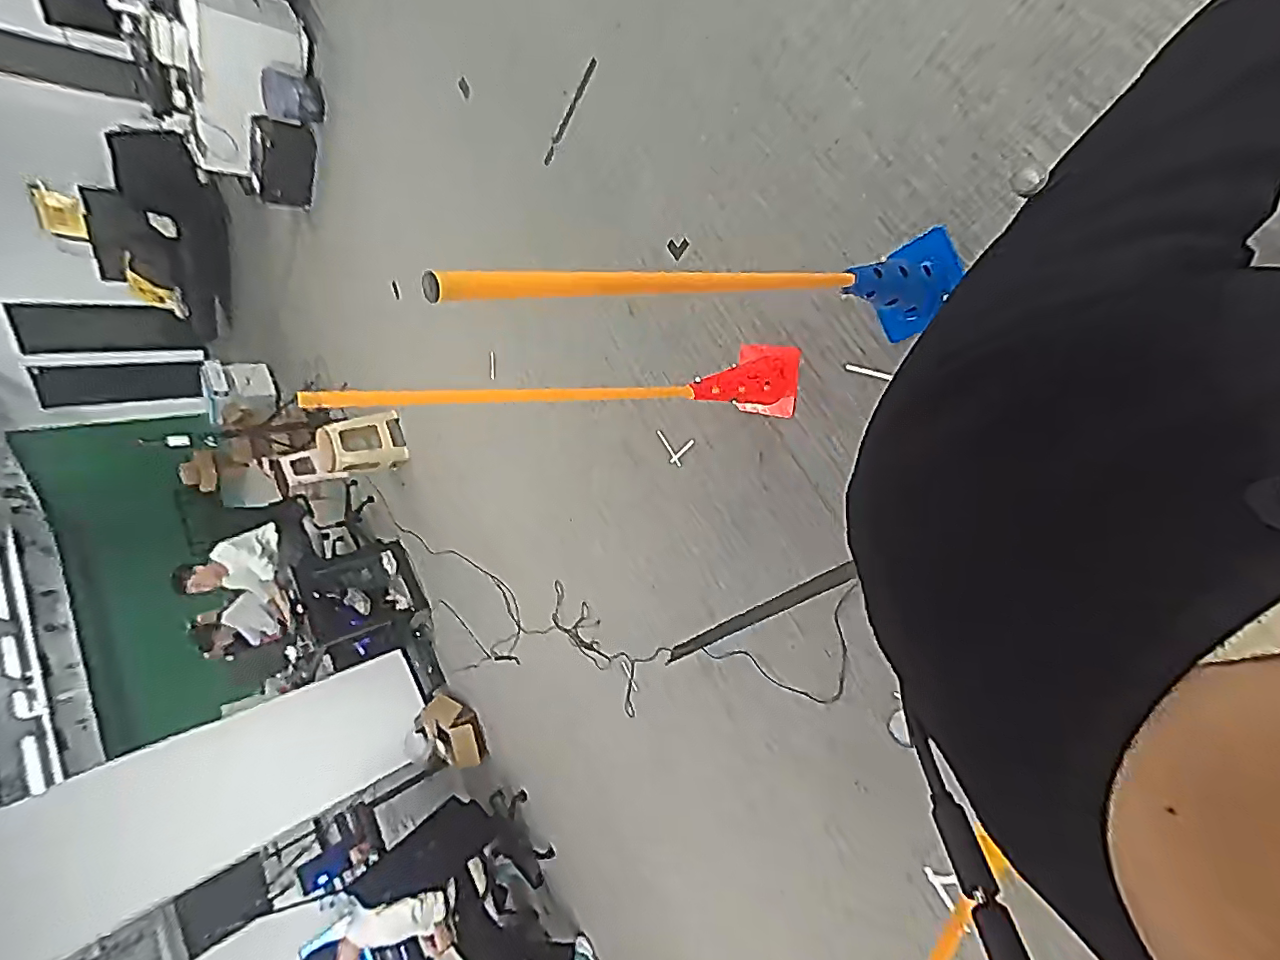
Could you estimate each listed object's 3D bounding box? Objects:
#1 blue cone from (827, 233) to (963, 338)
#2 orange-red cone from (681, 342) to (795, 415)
[{"bbox_3d":[0.512,-0.415,1.145,0.192,0.380,0.193,-23,85,48],"label":"blue cone"},{"bbox_3d":[0.239,-0.260,1.458,0.199,0.360,0.198,18,115,41],"label":"orange-red cone"}]
